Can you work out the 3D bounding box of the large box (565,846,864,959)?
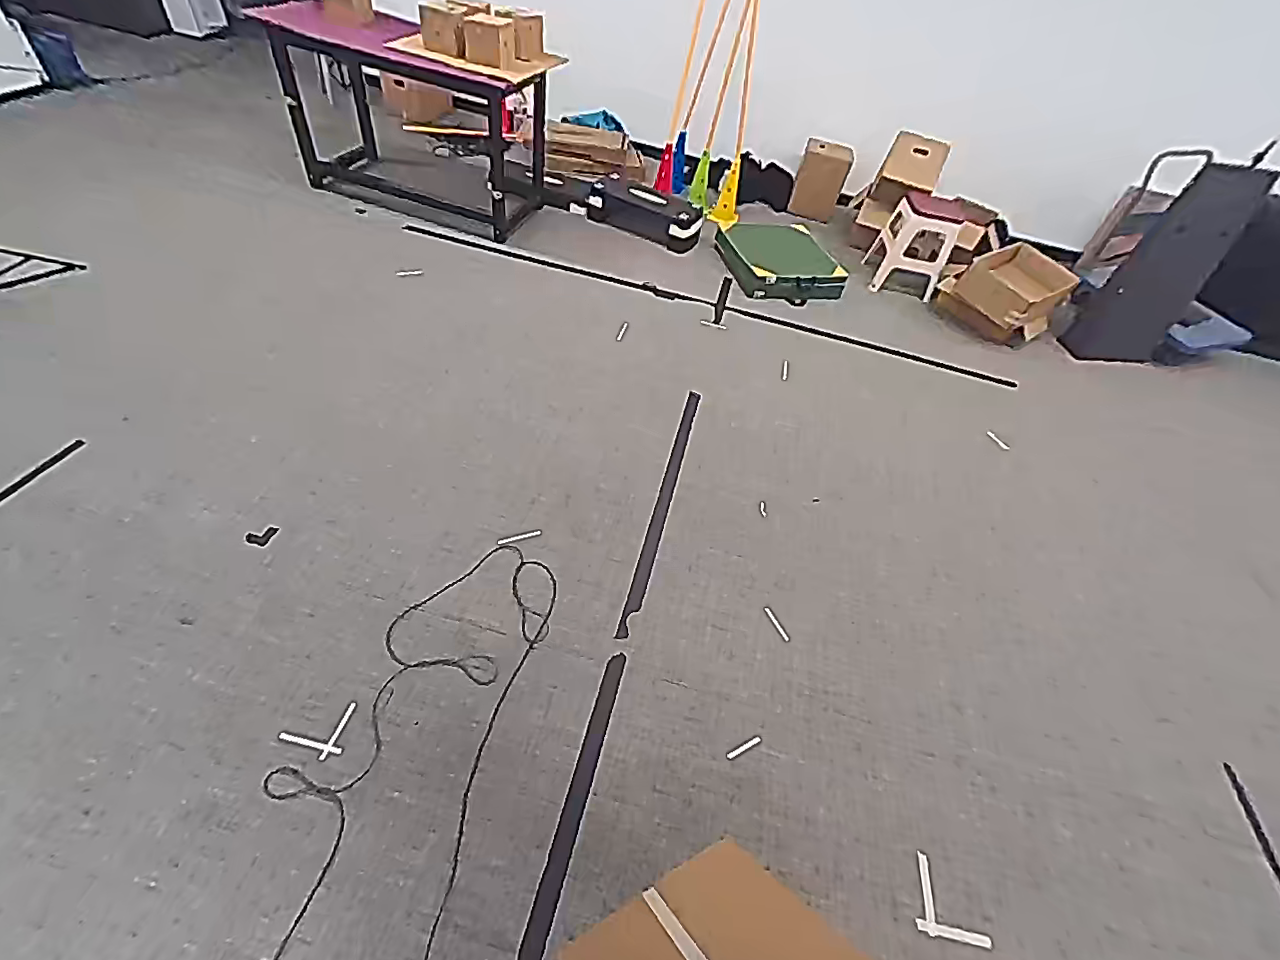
[{"bbox_3d":[0.143,0.771,0.665,0.320,0.408,0.320,-18,91,-25],"label":"large box"}]
